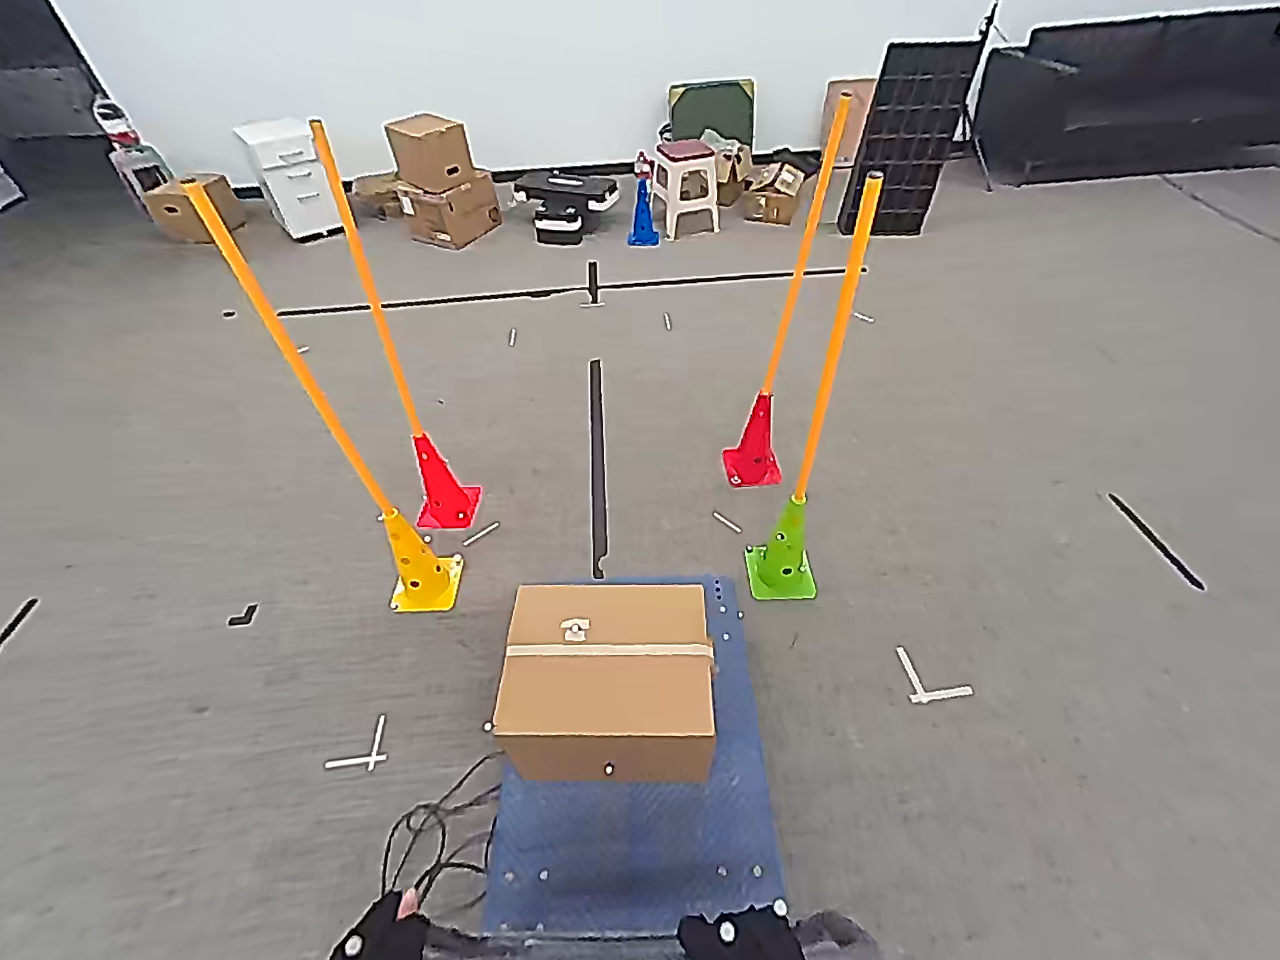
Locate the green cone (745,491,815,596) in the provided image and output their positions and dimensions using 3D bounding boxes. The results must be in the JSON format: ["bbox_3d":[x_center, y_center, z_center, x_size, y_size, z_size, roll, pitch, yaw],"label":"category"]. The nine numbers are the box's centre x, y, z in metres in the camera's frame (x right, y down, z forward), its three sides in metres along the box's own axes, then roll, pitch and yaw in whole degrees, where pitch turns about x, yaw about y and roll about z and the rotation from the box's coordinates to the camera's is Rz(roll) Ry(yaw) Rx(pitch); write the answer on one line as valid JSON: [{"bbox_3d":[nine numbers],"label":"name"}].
[{"bbox_3d":[0.448,0.170,1.622,0.202,0.368,0.200,-1,46,0],"label":"green cone"}]

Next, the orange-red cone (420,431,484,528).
[{"bbox_3d":[-0.690,-0.026,1.863,0.198,0.360,0.199,2,45,3],"label":"orange-red cone"}]

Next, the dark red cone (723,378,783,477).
[{"bbox_3d":[0.429,-0.193,1.944,0.201,0.394,0.202,-3,47,-3],"label":"dark red cone"}]

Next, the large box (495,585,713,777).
[{"bbox_3d":[-0.058,0.445,1.184,0.408,0.320,0.320,-1,47,3],"label":"large box"}]
